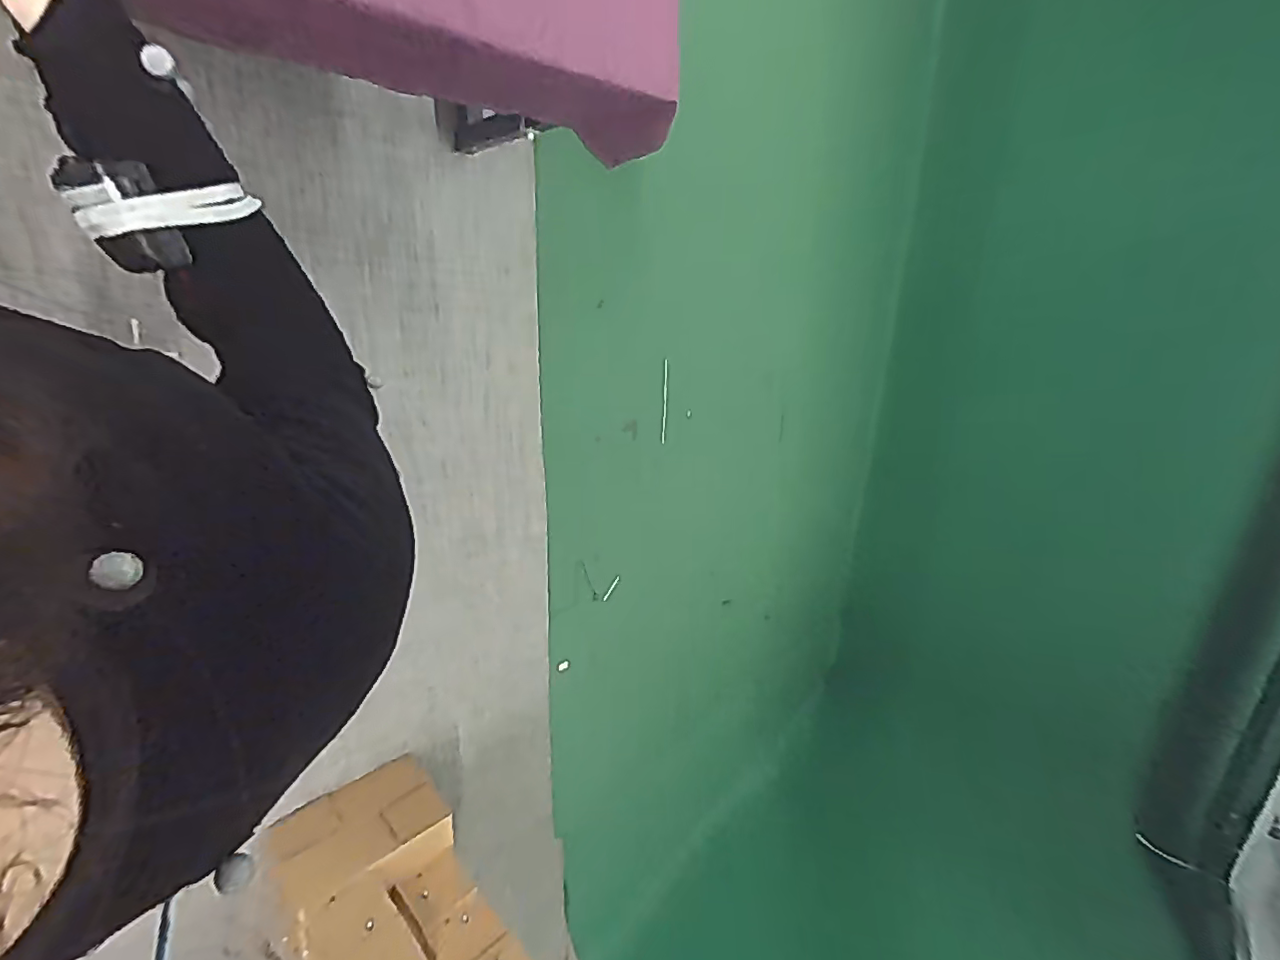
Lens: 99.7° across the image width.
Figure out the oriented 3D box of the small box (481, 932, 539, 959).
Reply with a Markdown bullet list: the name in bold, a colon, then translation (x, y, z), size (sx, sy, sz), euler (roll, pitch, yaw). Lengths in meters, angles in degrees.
- **small box**: translation (-0.318, 1.273, 1.315), size (0.168, 0.176, 0.179), euler (-13, 113, -45)

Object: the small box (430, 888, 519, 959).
- **small box**: translation (-0.436, 1.244, 1.425), size (0.168, 0.176, 0.179), euler (-13, 112, -45)

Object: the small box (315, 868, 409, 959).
- **small box**: translation (-0.691, 1.130, 1.345), size (0.168, 0.176, 0.179), euler (-10, 113, -46)

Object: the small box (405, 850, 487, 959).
- **small box**: translation (-0.551, 1.199, 1.533), size (0.168, 0.176, 0.179), euler (-13, 115, -45)
